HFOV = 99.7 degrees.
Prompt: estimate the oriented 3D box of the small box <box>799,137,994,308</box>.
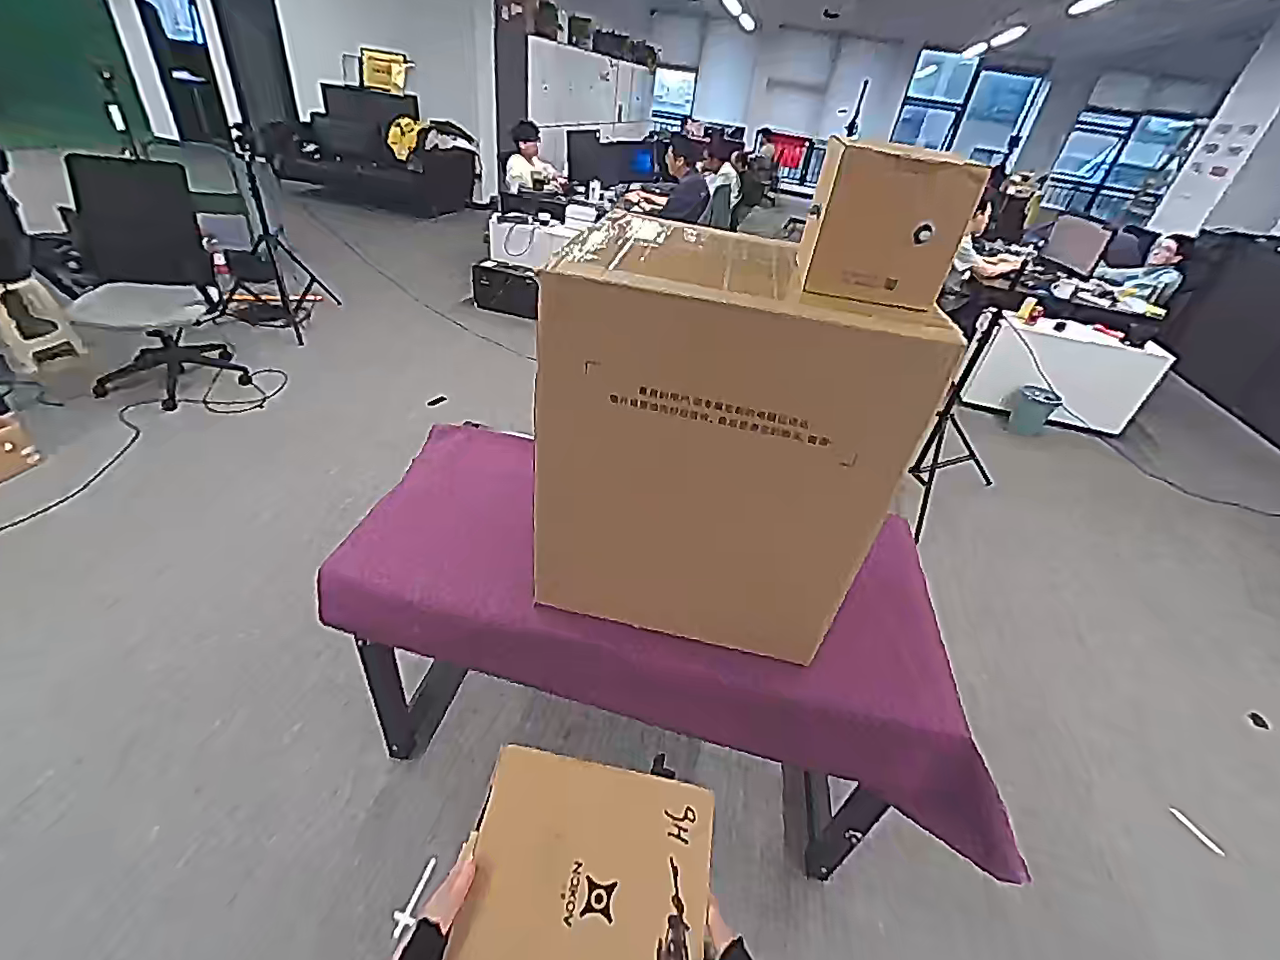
[{"bbox_3d":[0.319,-0.341,0.717,0.168,0.176,0.179,12,35,4],"label":"small box"}]
